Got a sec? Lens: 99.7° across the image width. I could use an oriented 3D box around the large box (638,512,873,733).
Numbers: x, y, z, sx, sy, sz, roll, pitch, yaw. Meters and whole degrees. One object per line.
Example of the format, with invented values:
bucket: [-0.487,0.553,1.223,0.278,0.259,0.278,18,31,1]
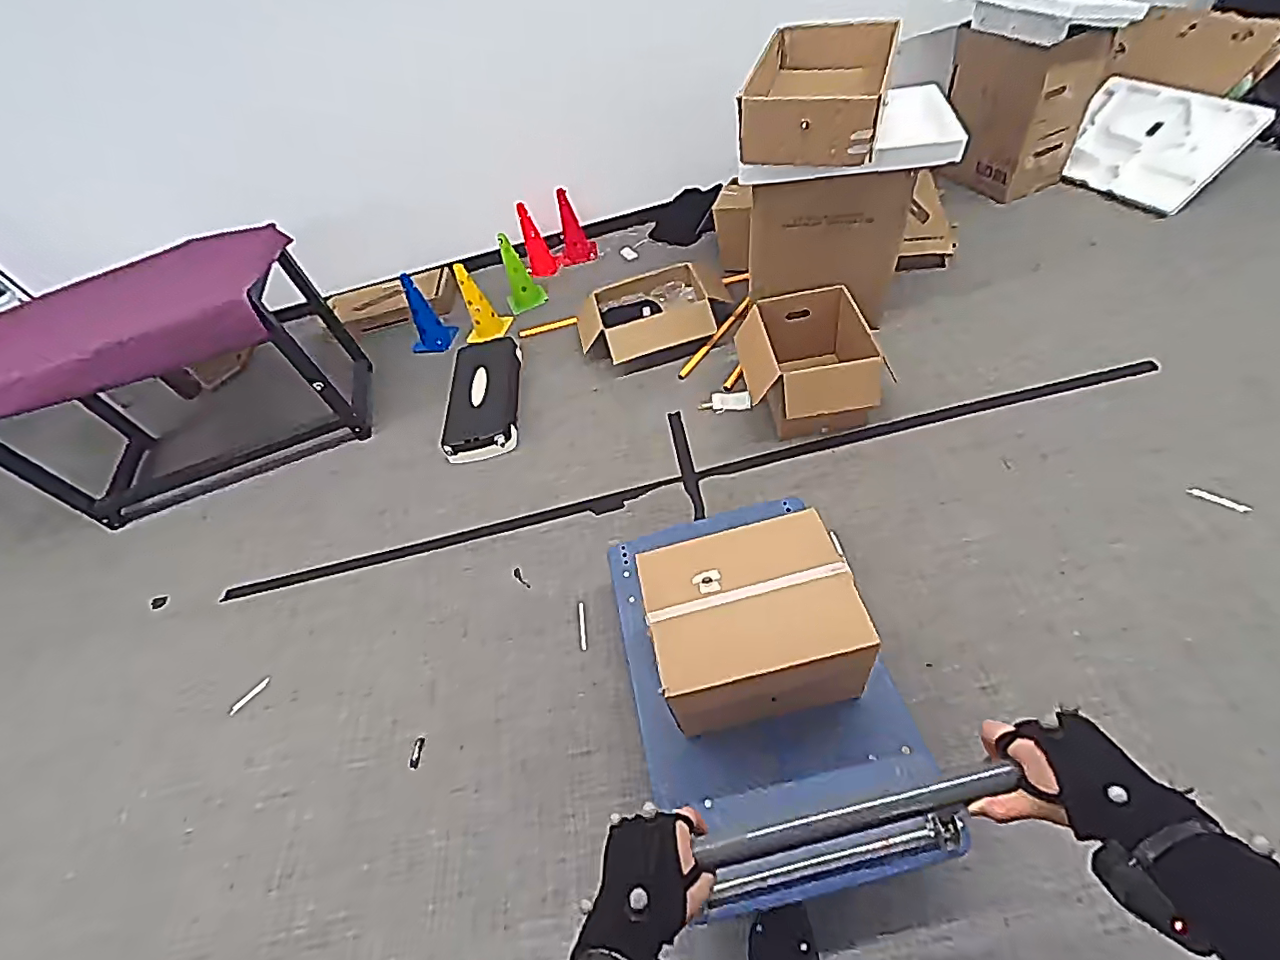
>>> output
large box: [0.244,0.326,1.208,0.408,0.320,0.320,-16,49,3]
